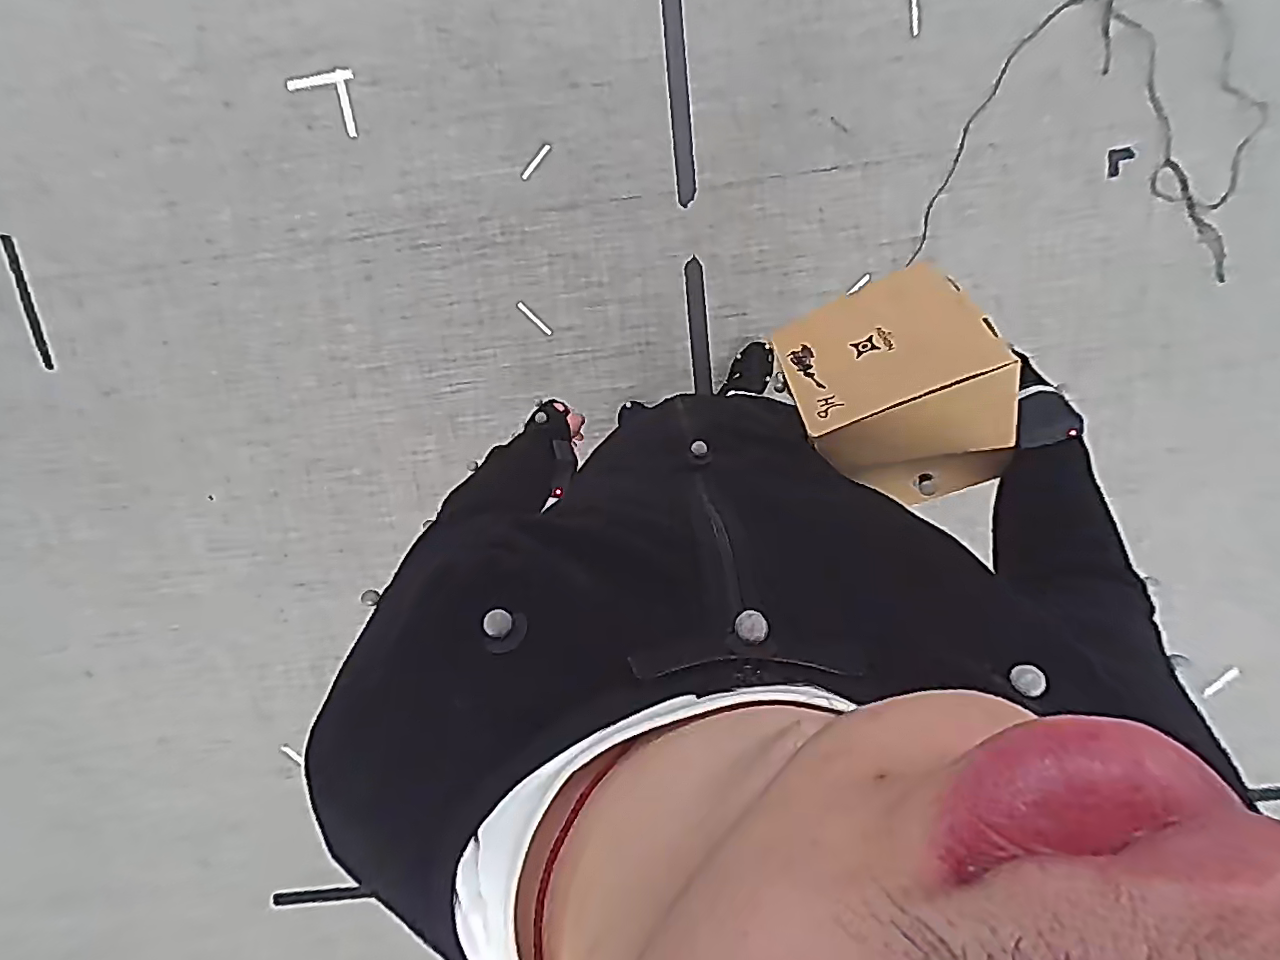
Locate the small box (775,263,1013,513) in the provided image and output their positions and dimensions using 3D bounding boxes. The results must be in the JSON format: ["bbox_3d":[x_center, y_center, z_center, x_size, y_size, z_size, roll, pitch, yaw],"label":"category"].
[{"bbox_3d":[0.269,-0.091,0.590,0.179,0.168,0.176,-21,137,17],"label":"small box"}]
